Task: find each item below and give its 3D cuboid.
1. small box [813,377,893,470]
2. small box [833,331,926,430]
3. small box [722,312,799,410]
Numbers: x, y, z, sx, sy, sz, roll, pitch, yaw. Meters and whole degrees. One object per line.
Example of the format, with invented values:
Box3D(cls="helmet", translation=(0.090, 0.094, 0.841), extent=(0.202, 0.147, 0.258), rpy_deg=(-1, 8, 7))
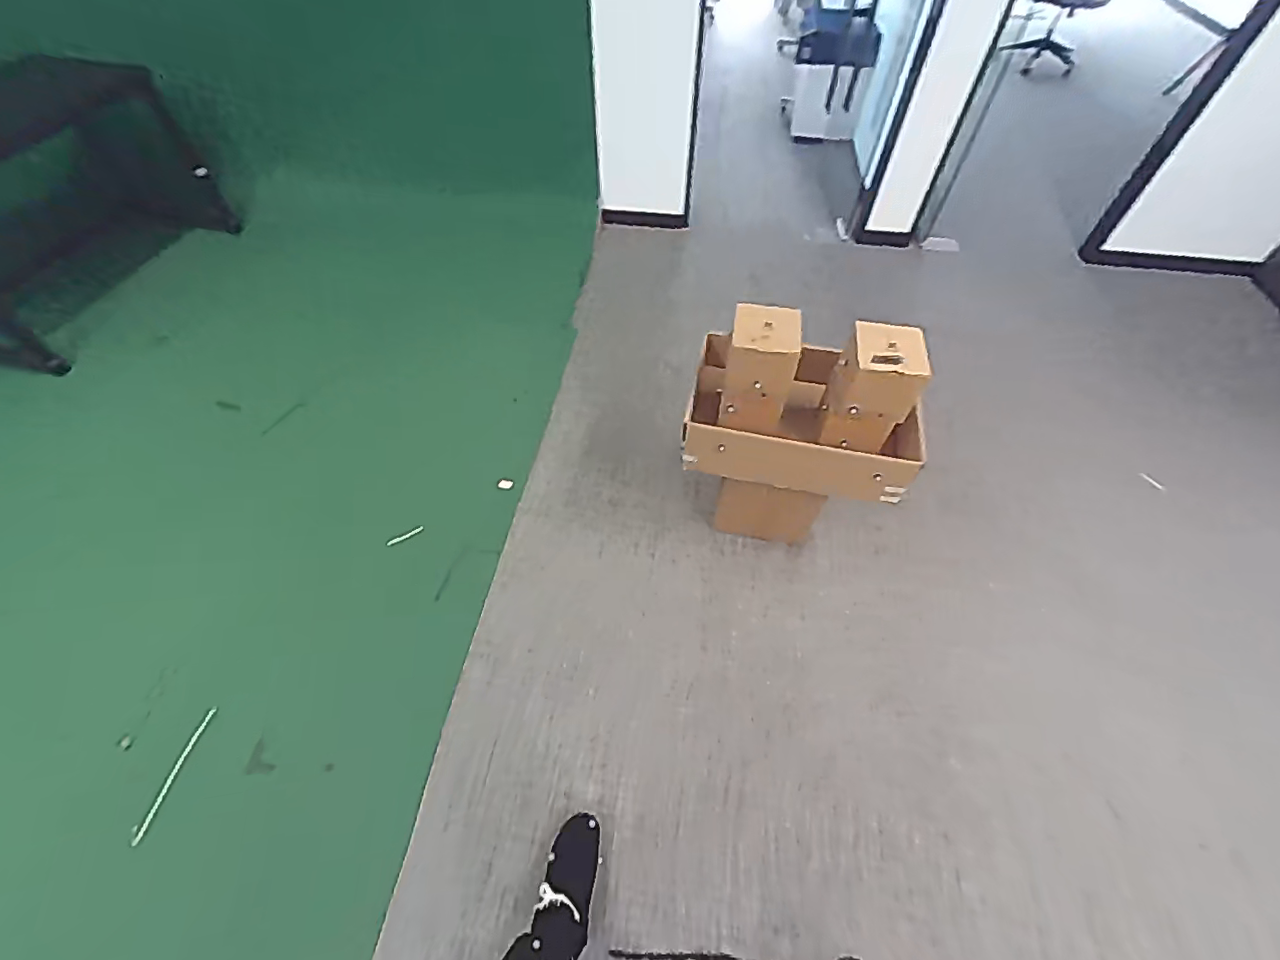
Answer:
Box3D(cls="small box", translation=(0.590, -0.158, 1.511), extent=(0.168, 0.176, 0.179), rpy_deg=(12, 55, 7))
Box3D(cls="small box", translation=(0.600, -0.250, 1.374), extent=(0.168, 0.176, 0.179), rpy_deg=(9, 54, 5))
Box3D(cls="small box", translation=(0.311, -0.309, 1.409), extent=(0.168, 0.176, 0.179), rpy_deg=(9, 53, 6))
